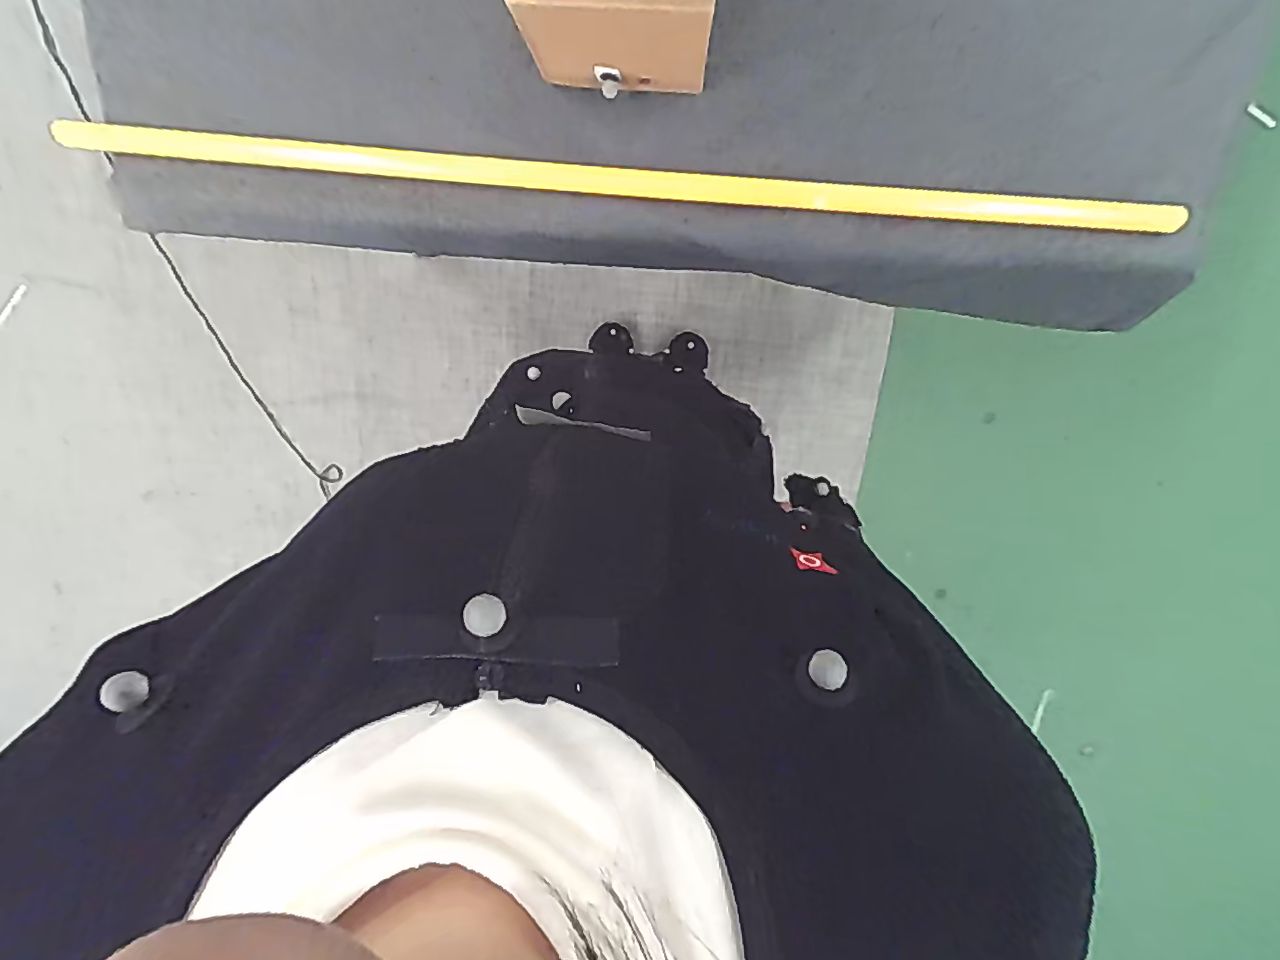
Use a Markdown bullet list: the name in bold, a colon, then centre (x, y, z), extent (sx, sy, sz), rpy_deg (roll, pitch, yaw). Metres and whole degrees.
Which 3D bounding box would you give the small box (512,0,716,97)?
- **small box**: centre (-0.014, -0.474, 0.476), extent (0.168, 0.176, 0.179), rpy_deg (4, 107, 3)
